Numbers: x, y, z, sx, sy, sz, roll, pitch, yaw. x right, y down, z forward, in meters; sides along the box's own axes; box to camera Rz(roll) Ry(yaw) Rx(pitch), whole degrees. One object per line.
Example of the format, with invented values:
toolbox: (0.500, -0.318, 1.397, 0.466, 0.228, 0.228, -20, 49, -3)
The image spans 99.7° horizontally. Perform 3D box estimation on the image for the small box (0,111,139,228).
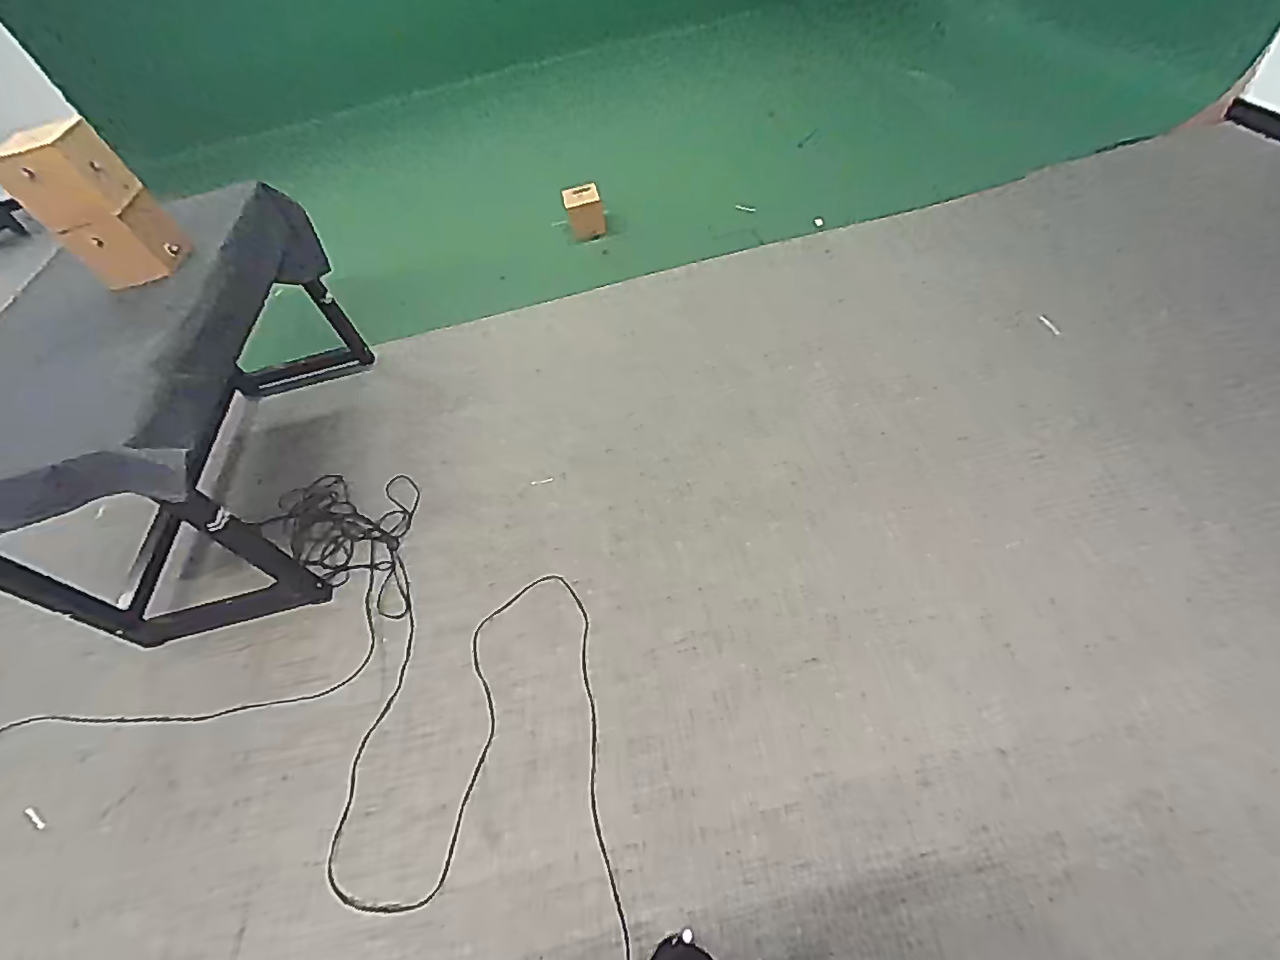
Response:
small box: (-1.367, -0.735, 1.289, 0.179, 0.176, 0.168, -15, 54, 2)

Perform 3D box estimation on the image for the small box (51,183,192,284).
small box: (-1.349, -0.643, 1.421, 0.179, 0.176, 0.168, -13, 54, 1)
